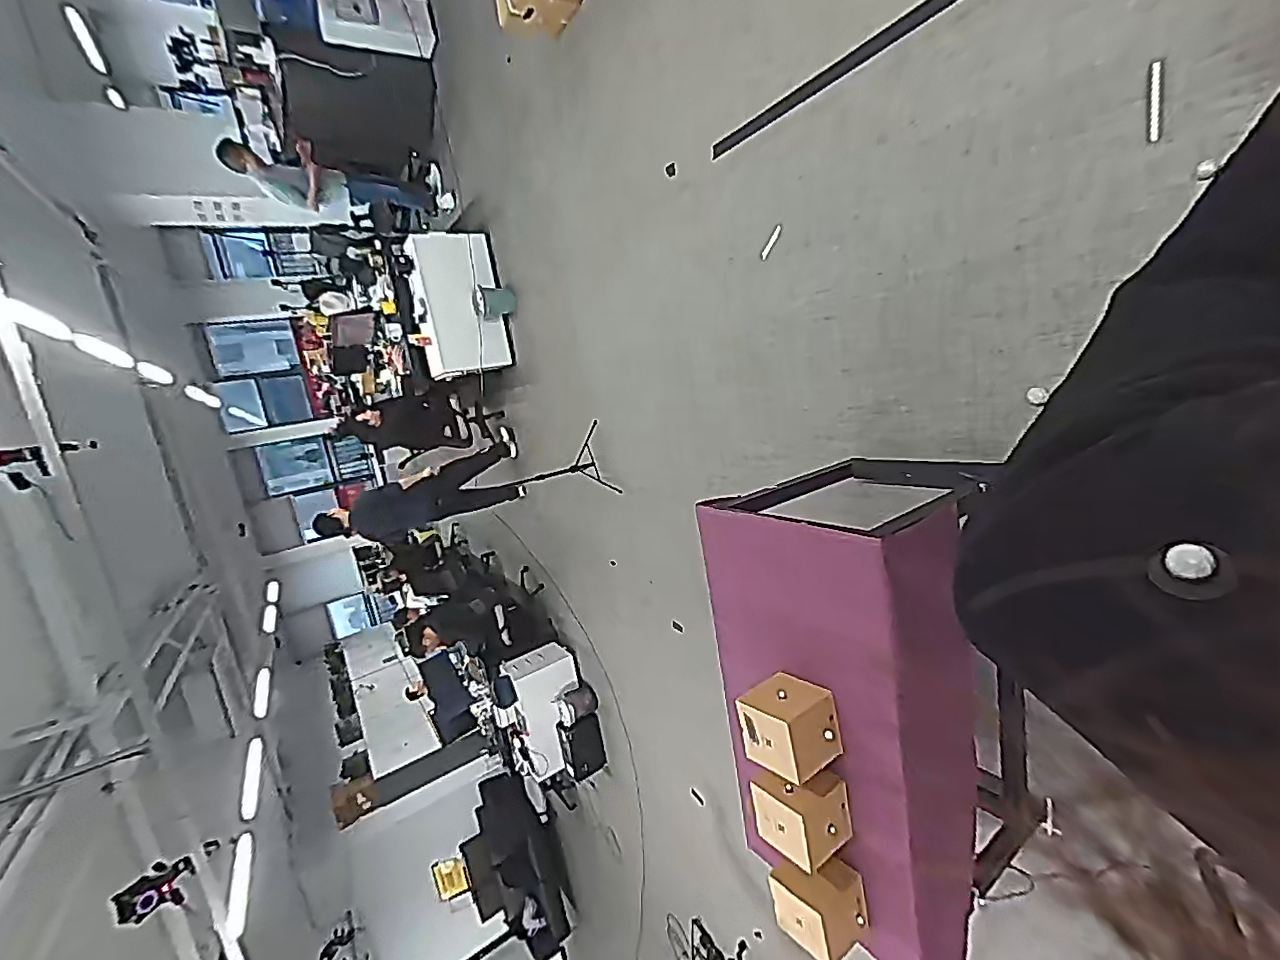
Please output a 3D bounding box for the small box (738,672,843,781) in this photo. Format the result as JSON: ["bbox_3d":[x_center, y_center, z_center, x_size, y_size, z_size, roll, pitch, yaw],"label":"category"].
[{"bbox_3d":[0.380,0.609,1.365,0.179,0.176,0.168,-2,103,57],"label":"small box"}]

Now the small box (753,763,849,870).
[{"bbox_3d":[0.424,0.843,1.405,0.179,0.176,0.168,5,108,57],"label":"small box"}]

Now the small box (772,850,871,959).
[{"bbox_3d":[0.483,1.109,1.439,0.179,0.176,0.168,1,105,58],"label":"small box"}]
